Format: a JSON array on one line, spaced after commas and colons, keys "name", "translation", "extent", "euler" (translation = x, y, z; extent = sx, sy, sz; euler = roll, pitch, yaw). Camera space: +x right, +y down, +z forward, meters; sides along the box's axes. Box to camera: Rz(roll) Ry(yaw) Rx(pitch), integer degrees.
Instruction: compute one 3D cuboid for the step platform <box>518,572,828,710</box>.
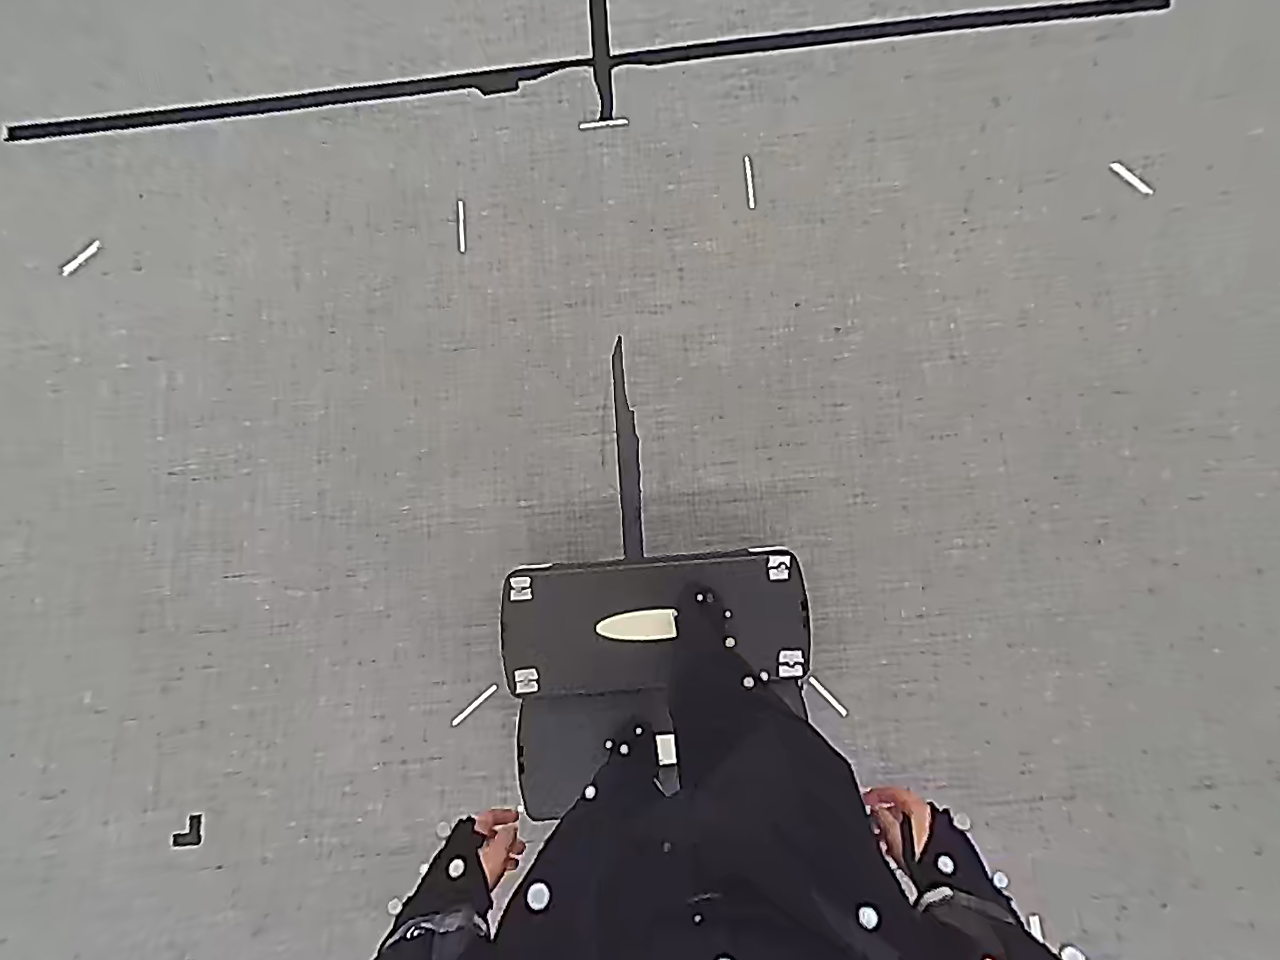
[{"name": "step platform", "translation": [0.070, 0.358, 1.238], "extent": [0.684, 0.204, 0.286], "euler": [0, 81, 1]}]
